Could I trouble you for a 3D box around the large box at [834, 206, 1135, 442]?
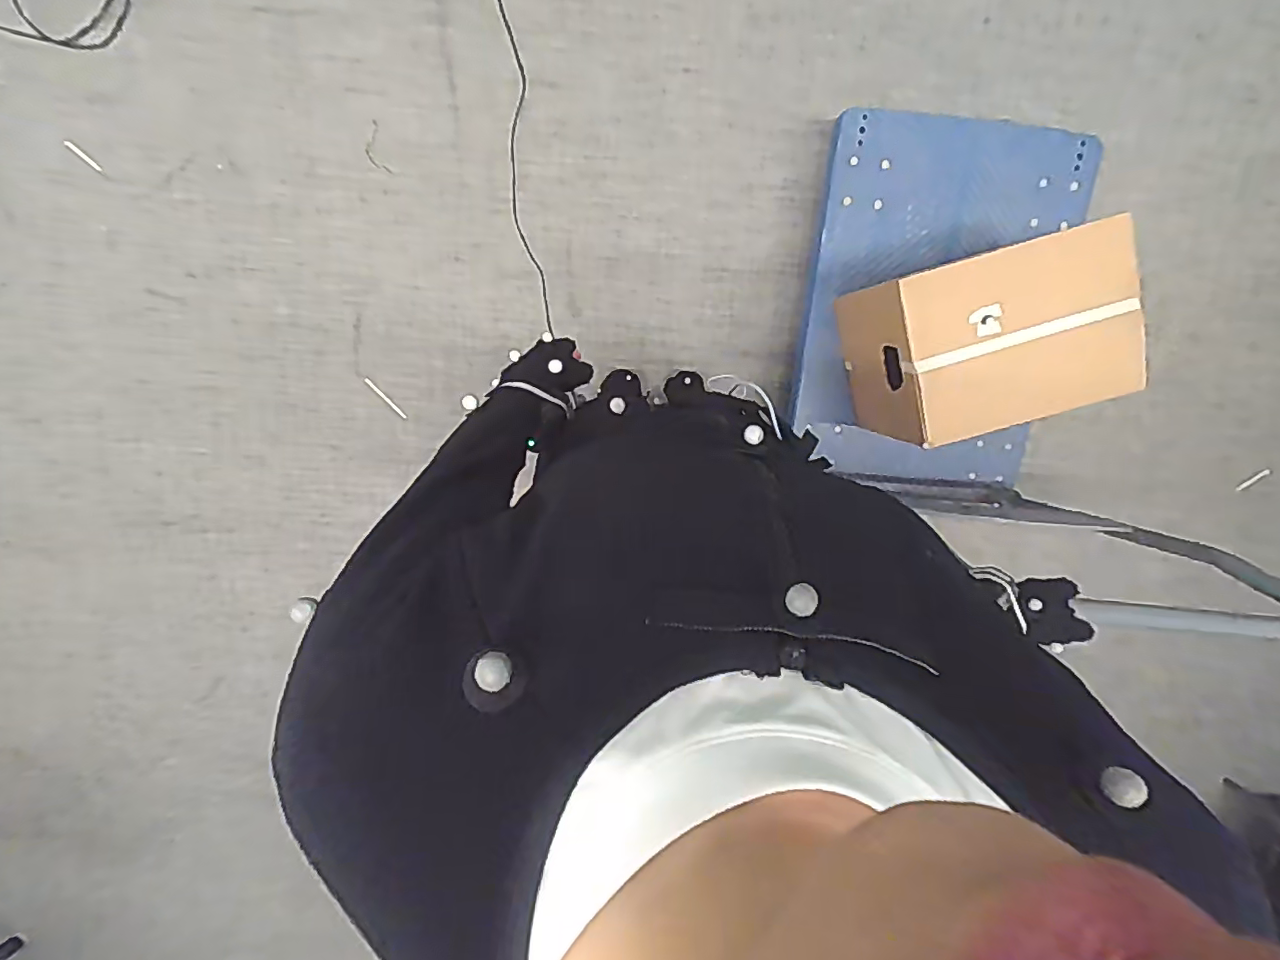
[{"bbox_3d":[0.669,-0.303,1.103,0.408,0.320,0.320,-16,102,4],"label":"large box"}]
